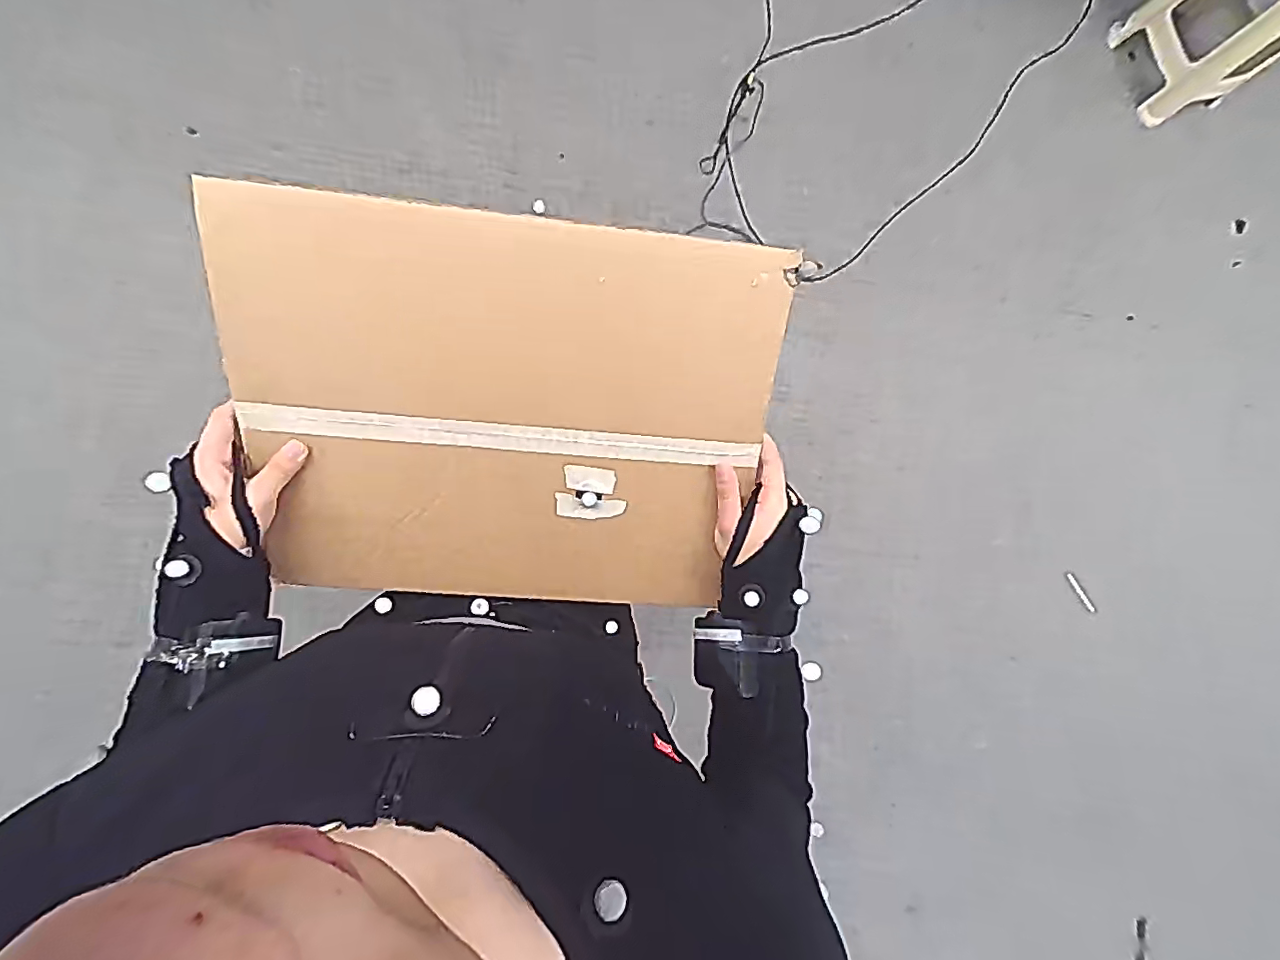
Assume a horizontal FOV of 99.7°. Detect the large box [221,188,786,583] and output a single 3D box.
[{"bbox_3d":[-0.113,-0.108,0.578,0.408,0.320,0.320,3,115,-7],"label":"large box"}]
